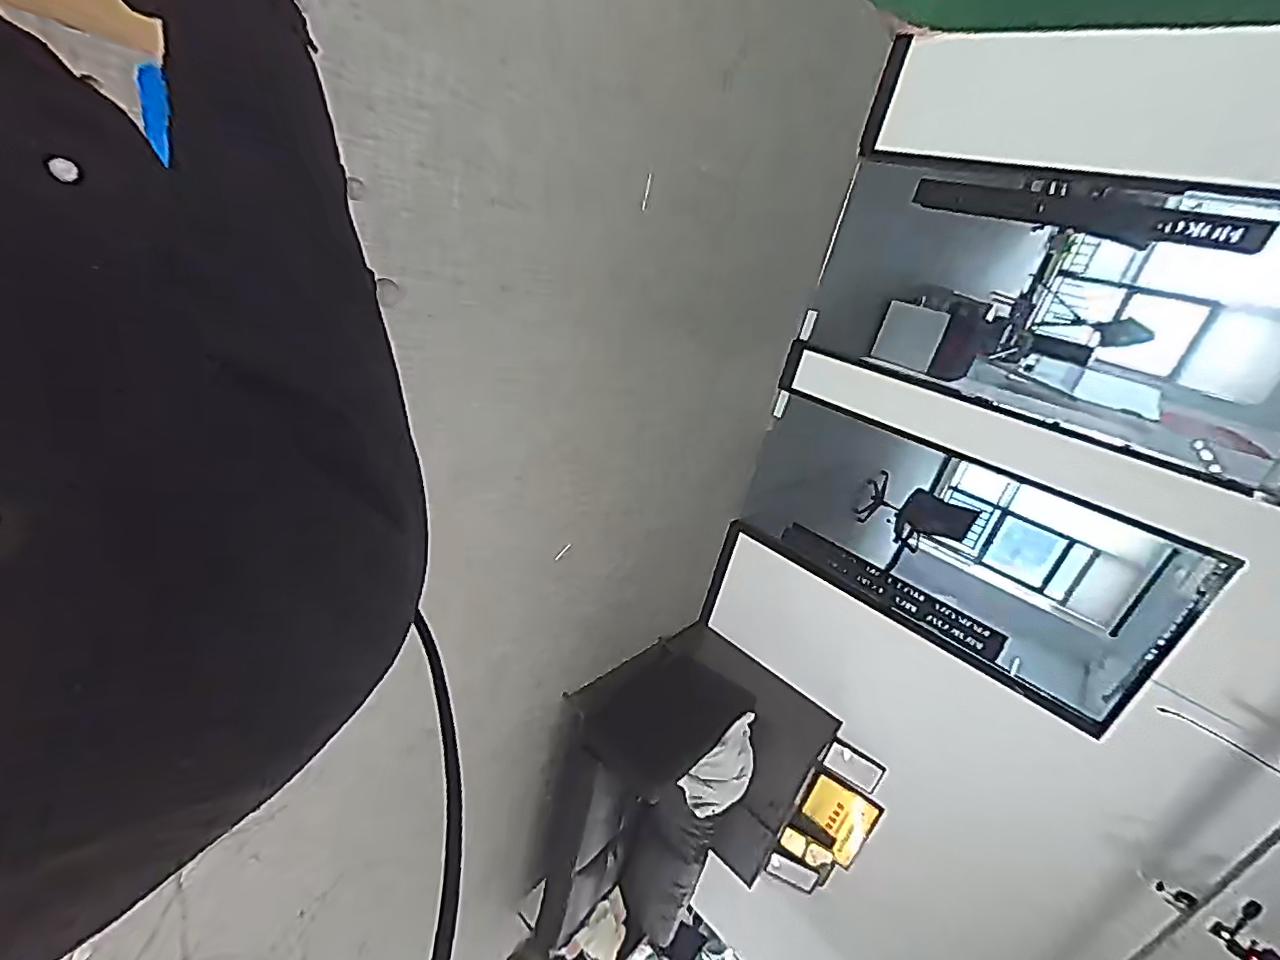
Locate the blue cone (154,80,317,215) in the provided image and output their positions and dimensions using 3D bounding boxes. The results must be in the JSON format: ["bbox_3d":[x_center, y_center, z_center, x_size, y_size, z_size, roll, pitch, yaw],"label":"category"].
[{"bbox_3d":[-0.639,-0.529,0.897,0.192,0.380,0.193,-13,125,-48],"label":"blue cone"}]
